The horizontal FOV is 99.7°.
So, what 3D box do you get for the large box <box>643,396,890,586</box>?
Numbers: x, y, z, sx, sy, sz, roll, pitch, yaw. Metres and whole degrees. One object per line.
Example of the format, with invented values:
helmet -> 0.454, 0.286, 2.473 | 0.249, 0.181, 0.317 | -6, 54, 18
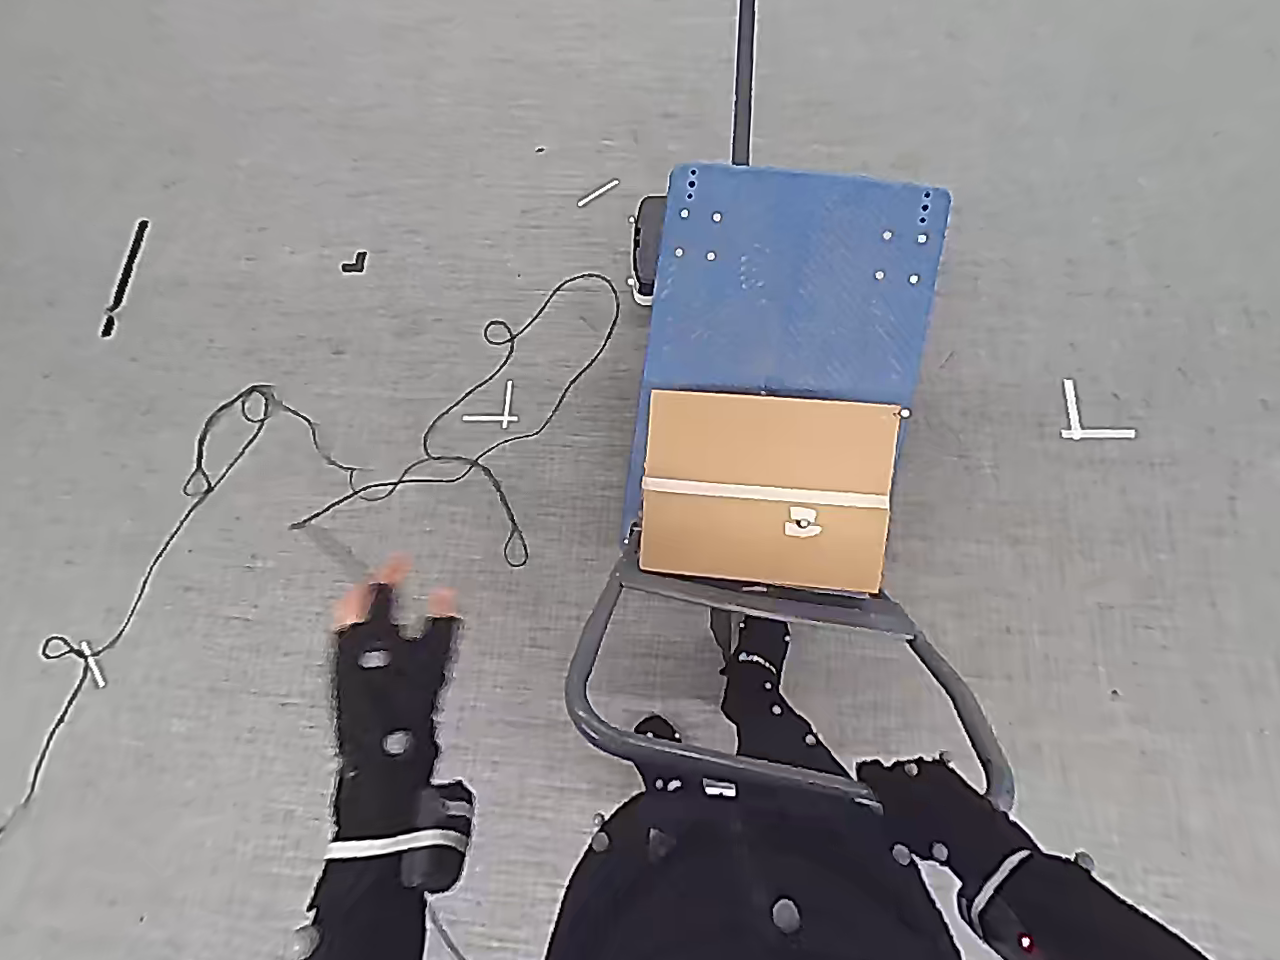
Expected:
large box -> 0.221, 0.004, 1.072 | 0.408, 0.320, 0.320 | 4, 98, 5
